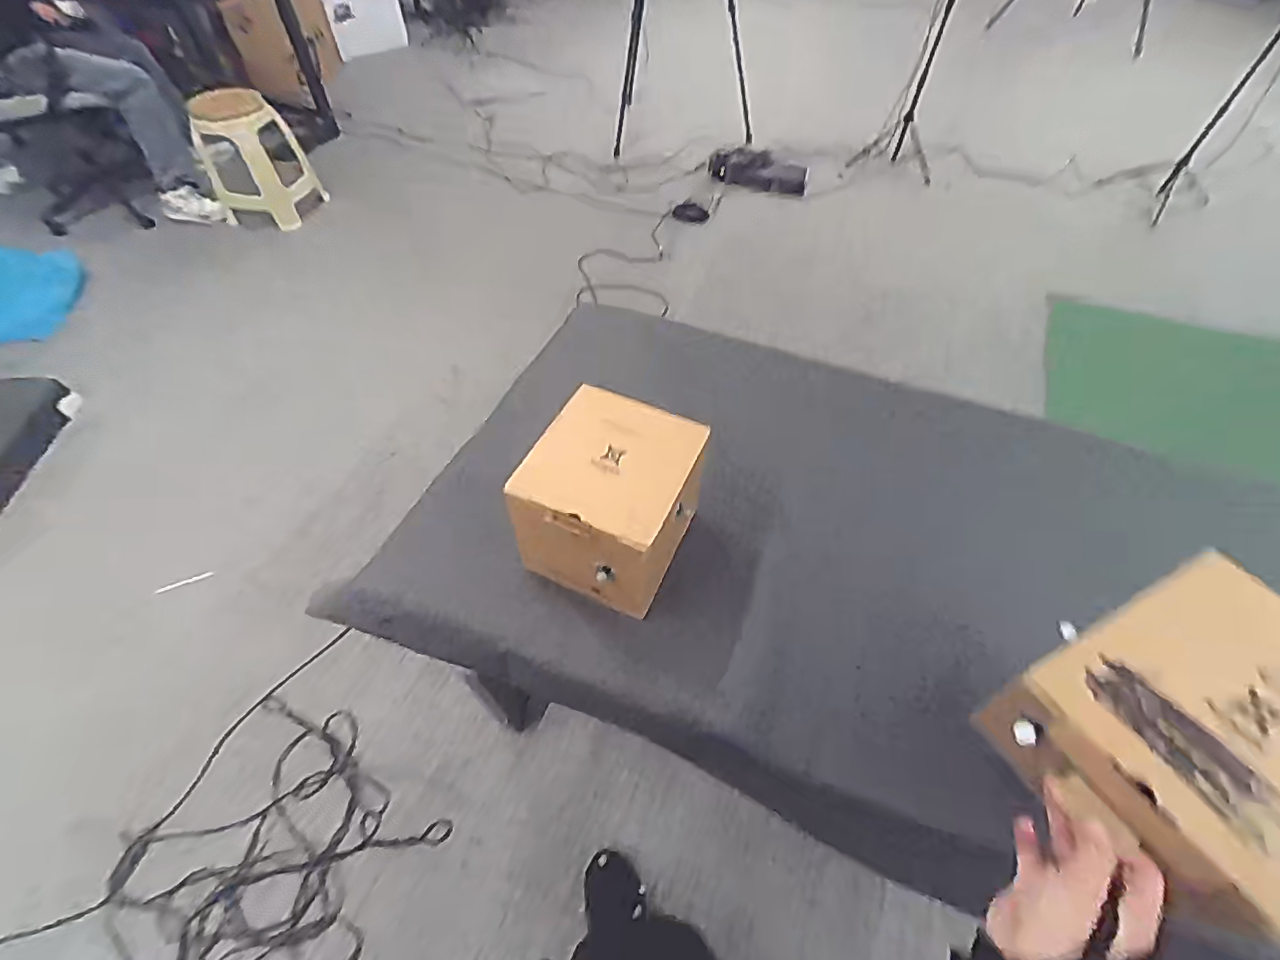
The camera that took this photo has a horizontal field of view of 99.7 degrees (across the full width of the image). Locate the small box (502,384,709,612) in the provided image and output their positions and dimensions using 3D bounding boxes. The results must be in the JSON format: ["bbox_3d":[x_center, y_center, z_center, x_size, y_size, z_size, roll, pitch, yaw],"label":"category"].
[{"bbox_3d":[-0.033,0.025,0.630,0.168,0.176,0.179,21,54,12],"label":"small box"}]
